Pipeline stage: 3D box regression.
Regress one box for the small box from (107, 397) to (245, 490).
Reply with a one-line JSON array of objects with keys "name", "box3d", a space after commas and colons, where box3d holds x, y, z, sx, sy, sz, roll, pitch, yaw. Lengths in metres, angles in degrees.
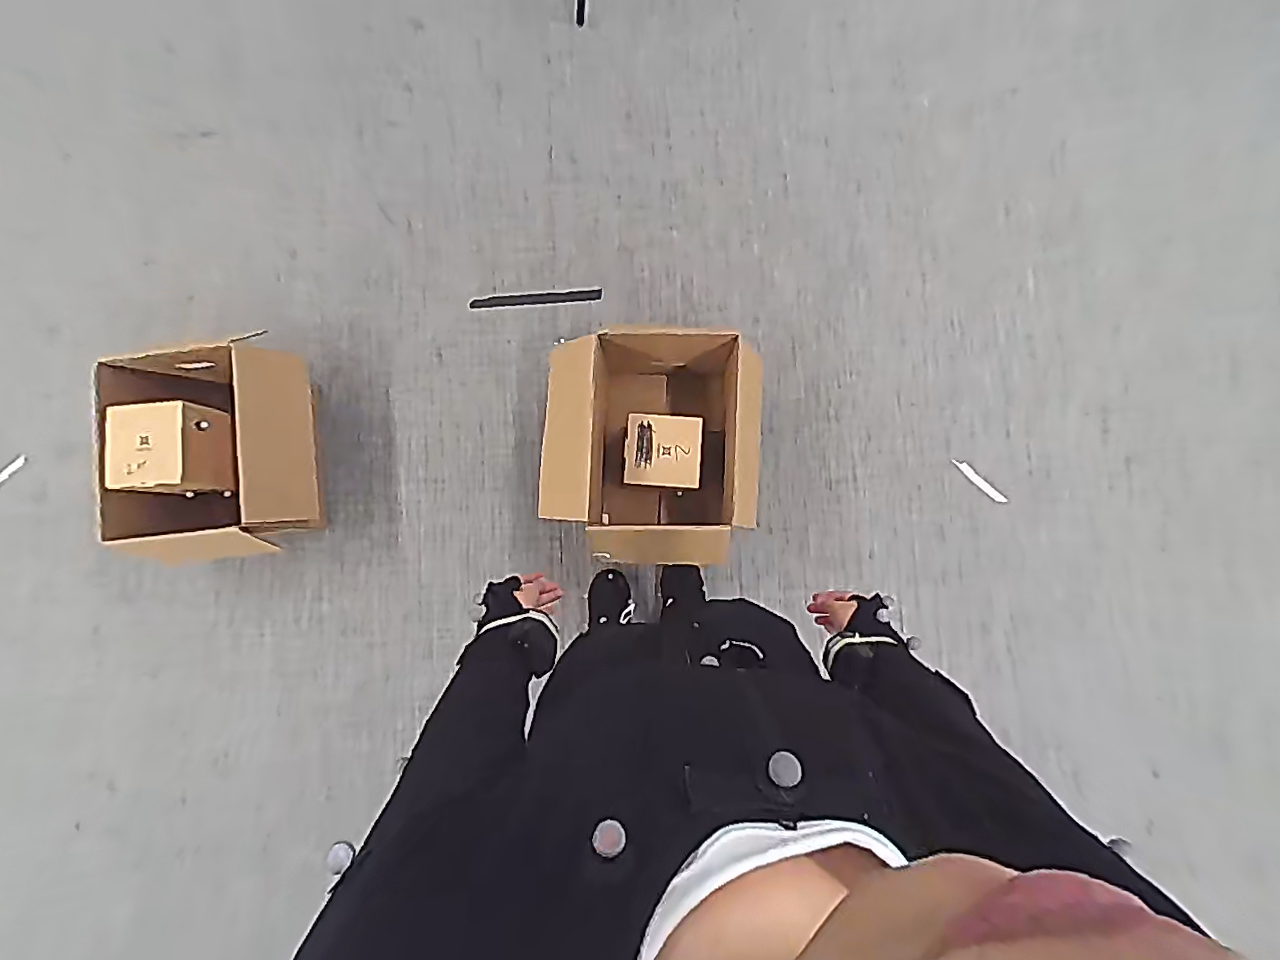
[{"name": "small box", "box3d": [-1.015, -0.074, 1.197, 0.168, 0.176, 0.179, -4, 85, 3]}]
